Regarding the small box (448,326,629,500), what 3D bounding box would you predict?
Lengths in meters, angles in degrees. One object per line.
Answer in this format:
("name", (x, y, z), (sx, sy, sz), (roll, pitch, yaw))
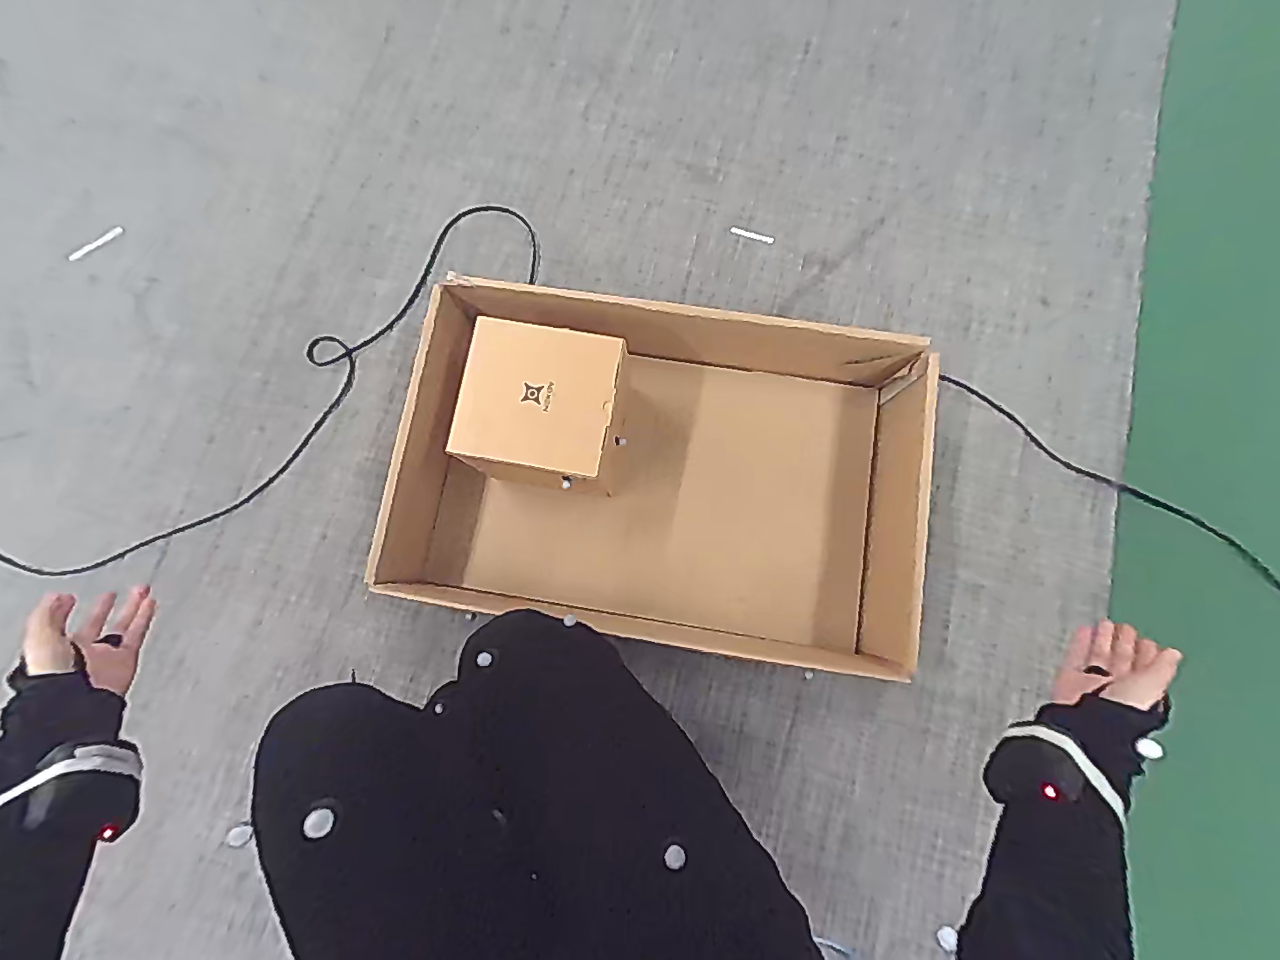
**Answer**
("small box", (-0.114, -0.074, 0.689), (0.179, 0.176, 0.168), (10, 81, 3))
